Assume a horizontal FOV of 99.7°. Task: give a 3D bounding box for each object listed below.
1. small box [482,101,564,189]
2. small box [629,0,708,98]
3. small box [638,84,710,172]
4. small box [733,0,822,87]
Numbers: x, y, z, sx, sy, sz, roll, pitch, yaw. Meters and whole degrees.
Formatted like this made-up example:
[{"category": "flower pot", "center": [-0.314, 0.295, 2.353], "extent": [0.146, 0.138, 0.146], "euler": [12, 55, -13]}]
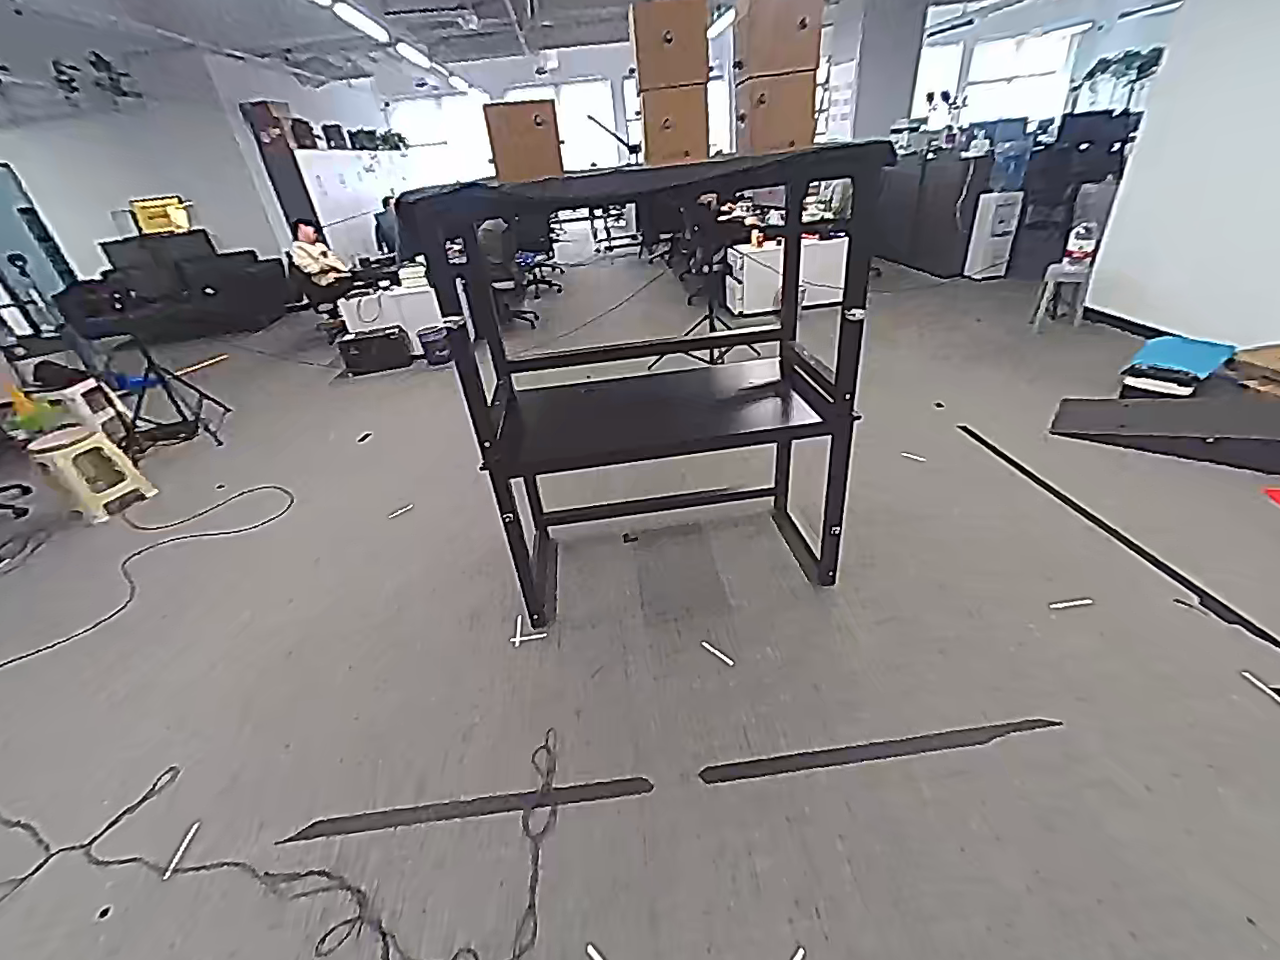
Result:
[{"category": "small box", "center": [-0.290, -0.849, 1.376], "extent": [0.179, 0.176, 0.168], "euler": [-10, 30, -6]}, {"category": "small box", "center": [0.070, -1.047, 1.320], "extent": [0.179, 0.176, 0.168], "euler": [-8, 29, 2]}, {"category": "small box", "center": [0.087, -0.911, 1.412], "extent": [0.168, 0.176, 0.179], "euler": [-6, 30, 0]}, {"category": "small box", "center": [0.329, -1.075, 1.317], "extent": [0.179, 0.176, 0.168], "euler": [-9, 29, -1]}]
